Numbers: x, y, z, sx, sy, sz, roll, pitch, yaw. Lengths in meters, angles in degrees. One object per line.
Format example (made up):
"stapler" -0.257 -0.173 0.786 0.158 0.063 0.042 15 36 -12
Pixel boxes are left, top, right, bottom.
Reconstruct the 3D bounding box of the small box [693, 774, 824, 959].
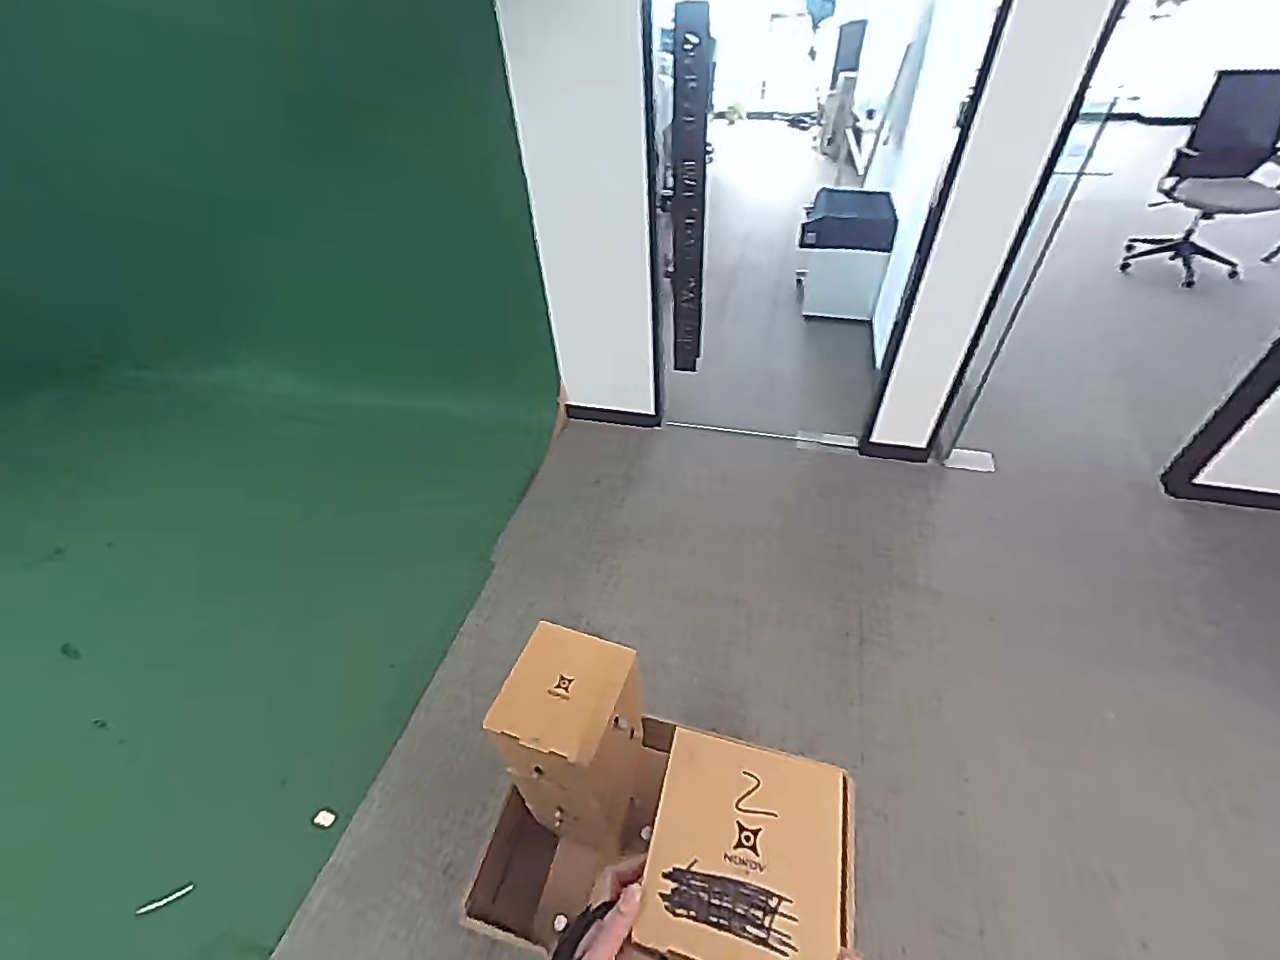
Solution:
"small box" 0.173 0.578 0.808 0.168 0.176 0.179 9 45 12

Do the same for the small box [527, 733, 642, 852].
"small box" -0.100 0.584 1.054 0.168 0.176 0.179 11 45 14

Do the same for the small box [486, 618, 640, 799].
"small box" -0.106 0.349 0.829 0.168 0.176 0.179 13 47 16

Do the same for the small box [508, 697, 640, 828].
"small box" -0.103 0.466 0.941 0.168 0.176 0.179 12 46 16

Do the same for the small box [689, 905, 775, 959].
"small box" 0.181 0.695 0.921 0.168 0.176 0.179 9 44 12
